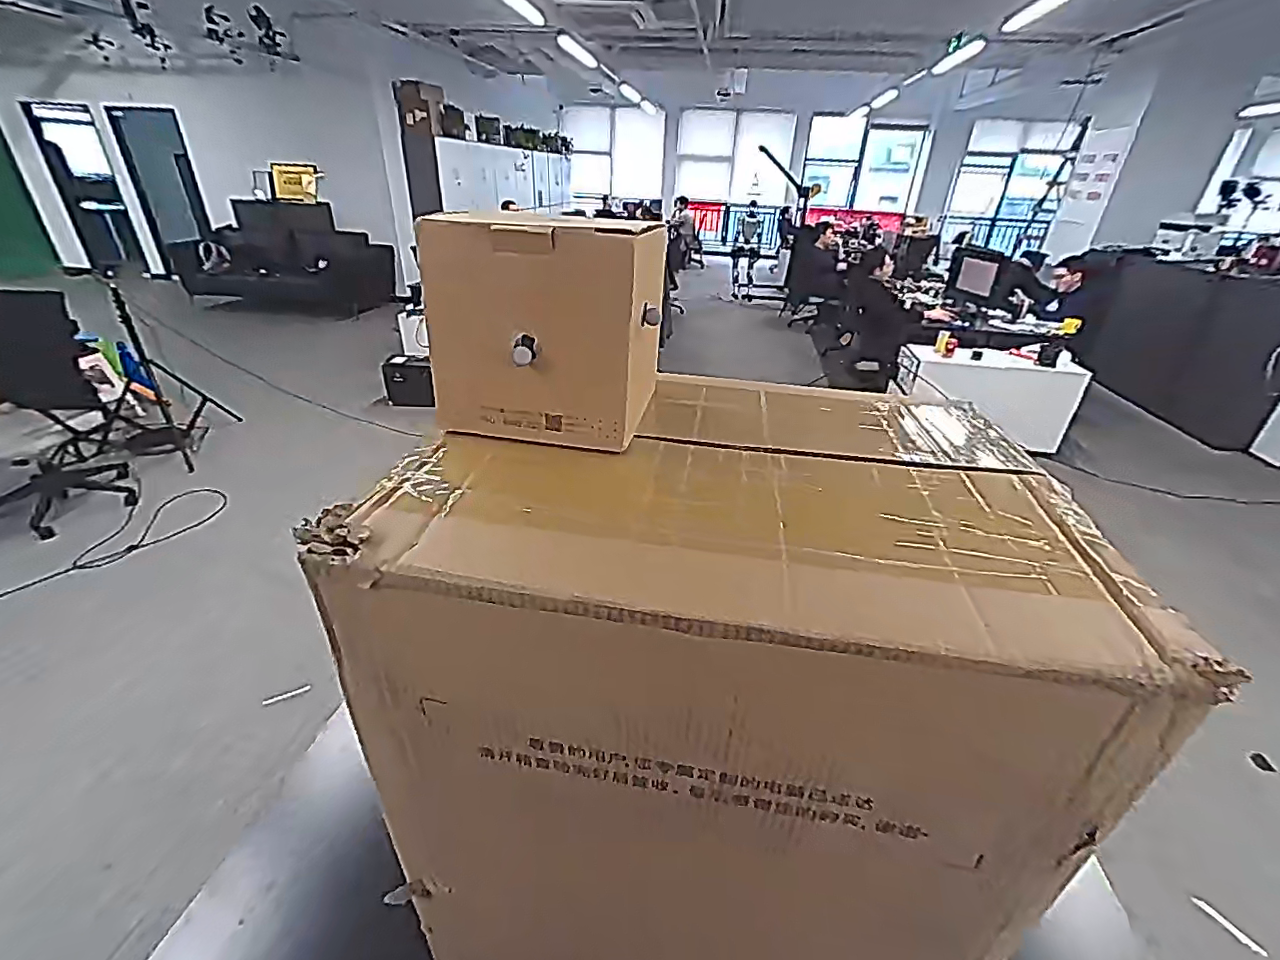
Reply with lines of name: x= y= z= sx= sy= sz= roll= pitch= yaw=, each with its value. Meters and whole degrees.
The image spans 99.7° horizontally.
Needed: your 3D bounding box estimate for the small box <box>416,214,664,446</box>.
small box: x=-0.073 y=-0.142 z=0.493 sx=0.168 sy=0.176 sz=0.179 roll=7 pitch=29 yaw=7
